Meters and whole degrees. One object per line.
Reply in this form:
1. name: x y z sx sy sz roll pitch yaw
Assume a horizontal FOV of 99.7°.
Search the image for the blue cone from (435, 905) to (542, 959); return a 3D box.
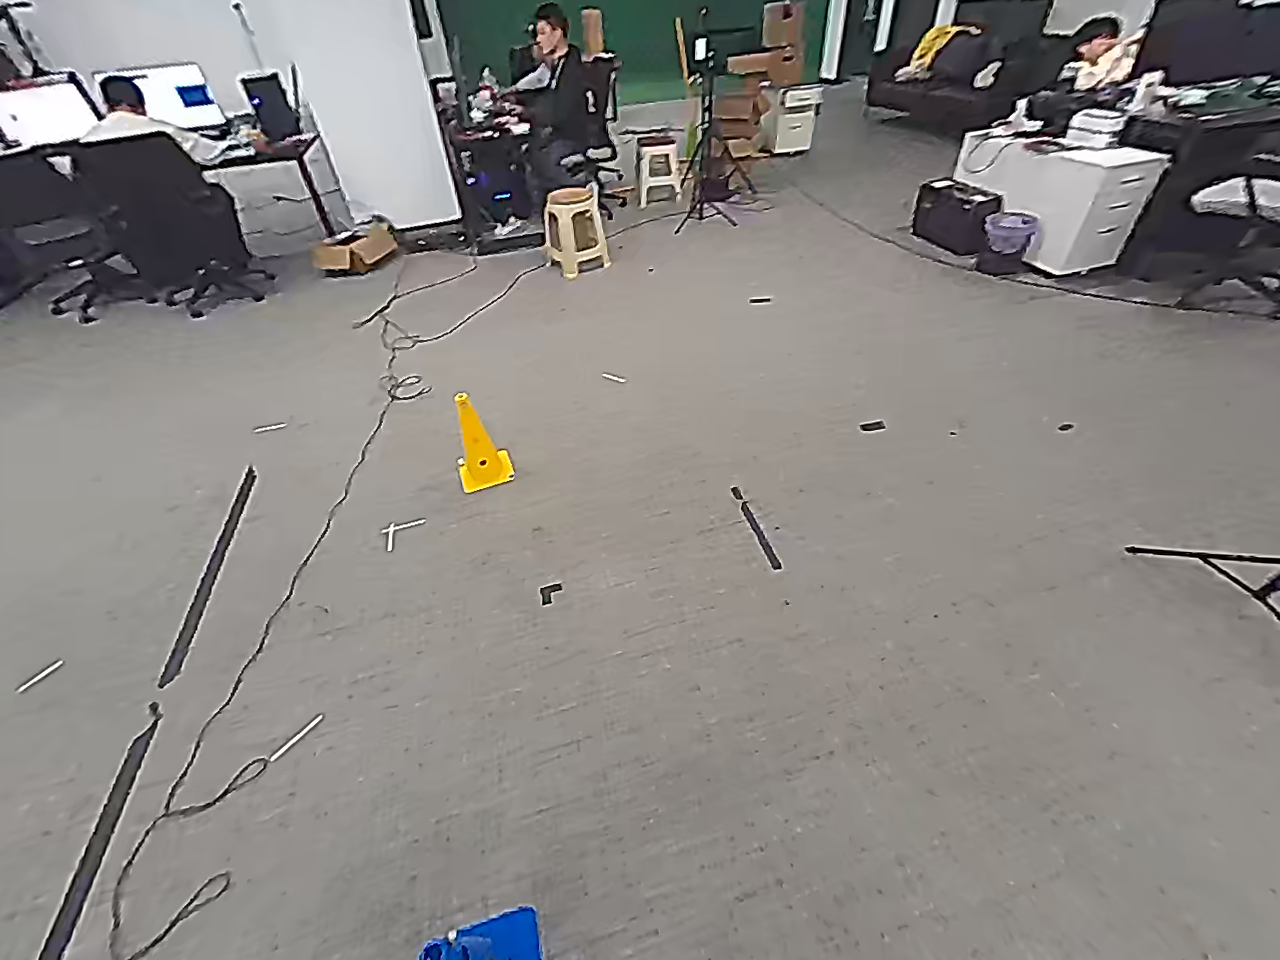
1. blue cone: -0.289 0.828 0.925 0.192 0.380 0.193 -12 42 -9
